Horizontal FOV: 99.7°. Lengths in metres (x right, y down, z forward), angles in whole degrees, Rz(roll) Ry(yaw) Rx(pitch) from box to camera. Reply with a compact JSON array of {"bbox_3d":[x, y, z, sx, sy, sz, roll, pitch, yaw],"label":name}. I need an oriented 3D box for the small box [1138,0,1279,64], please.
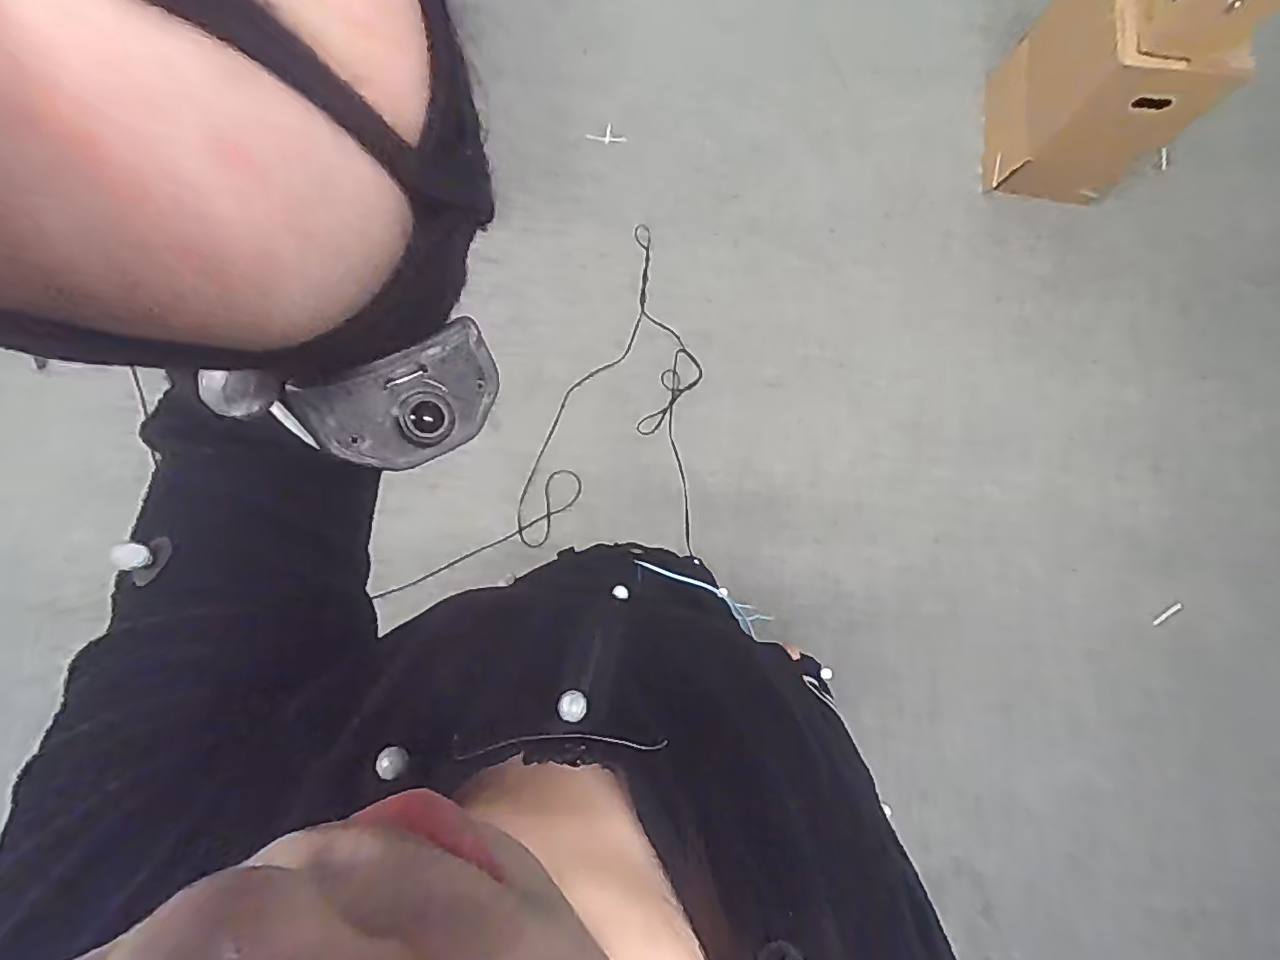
[{"bbox_3d":[1.218,-1.036,1.152,0.179,0.176,0.168,9,80,1],"label":"small box"}]
